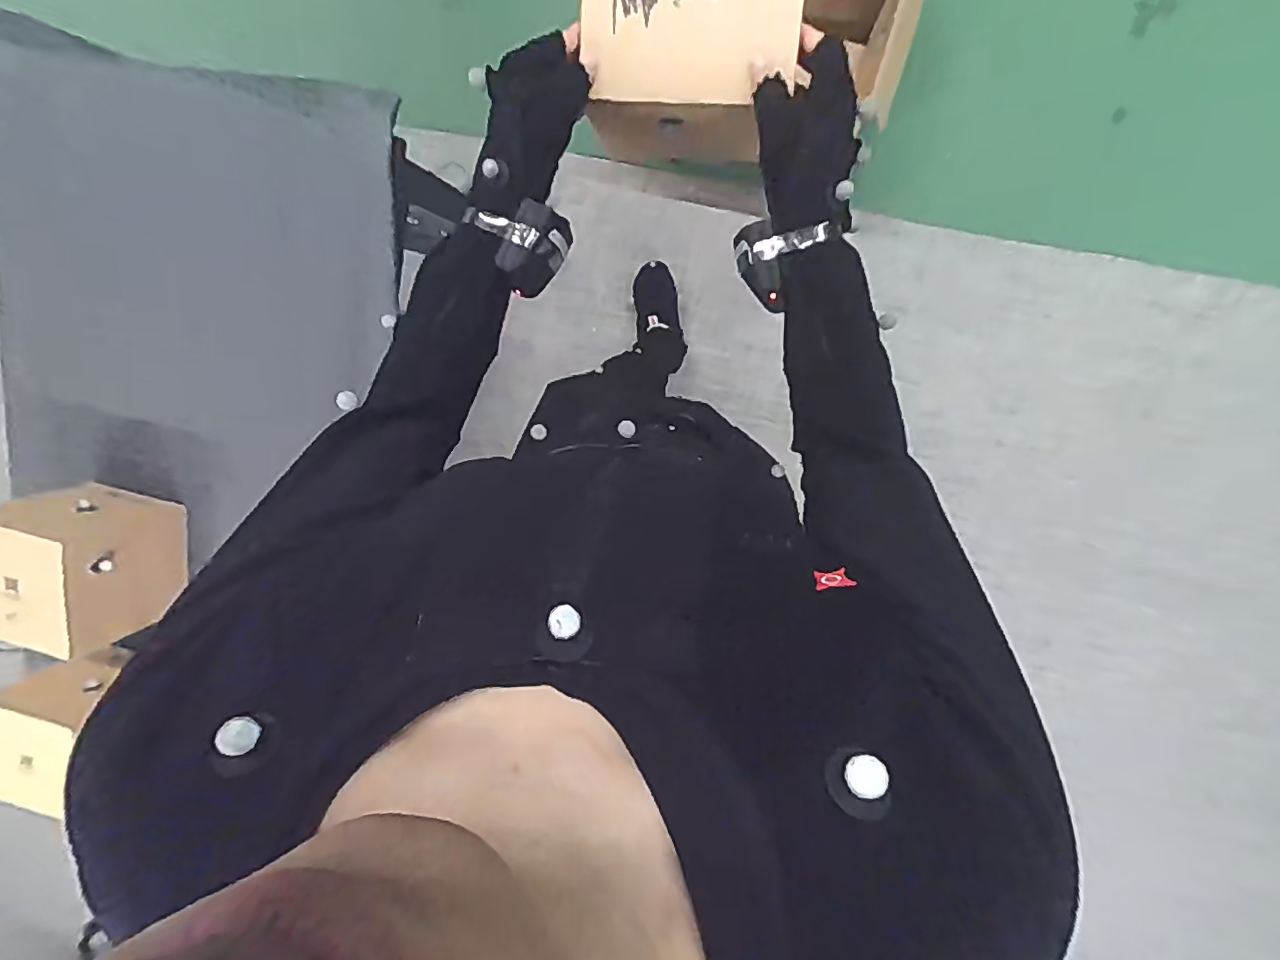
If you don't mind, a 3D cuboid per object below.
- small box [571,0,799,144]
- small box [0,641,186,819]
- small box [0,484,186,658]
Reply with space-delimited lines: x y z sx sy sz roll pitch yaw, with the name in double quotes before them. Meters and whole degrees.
"small box" 0.042 -0.415 0.481 0.179 0.176 0.168 4 109 3
"small box" -0.871 0.385 0.861 0.168 0.176 0.179 13 106 5
"small box" -0.803 0.118 0.780 0.168 0.176 0.179 13 106 5
